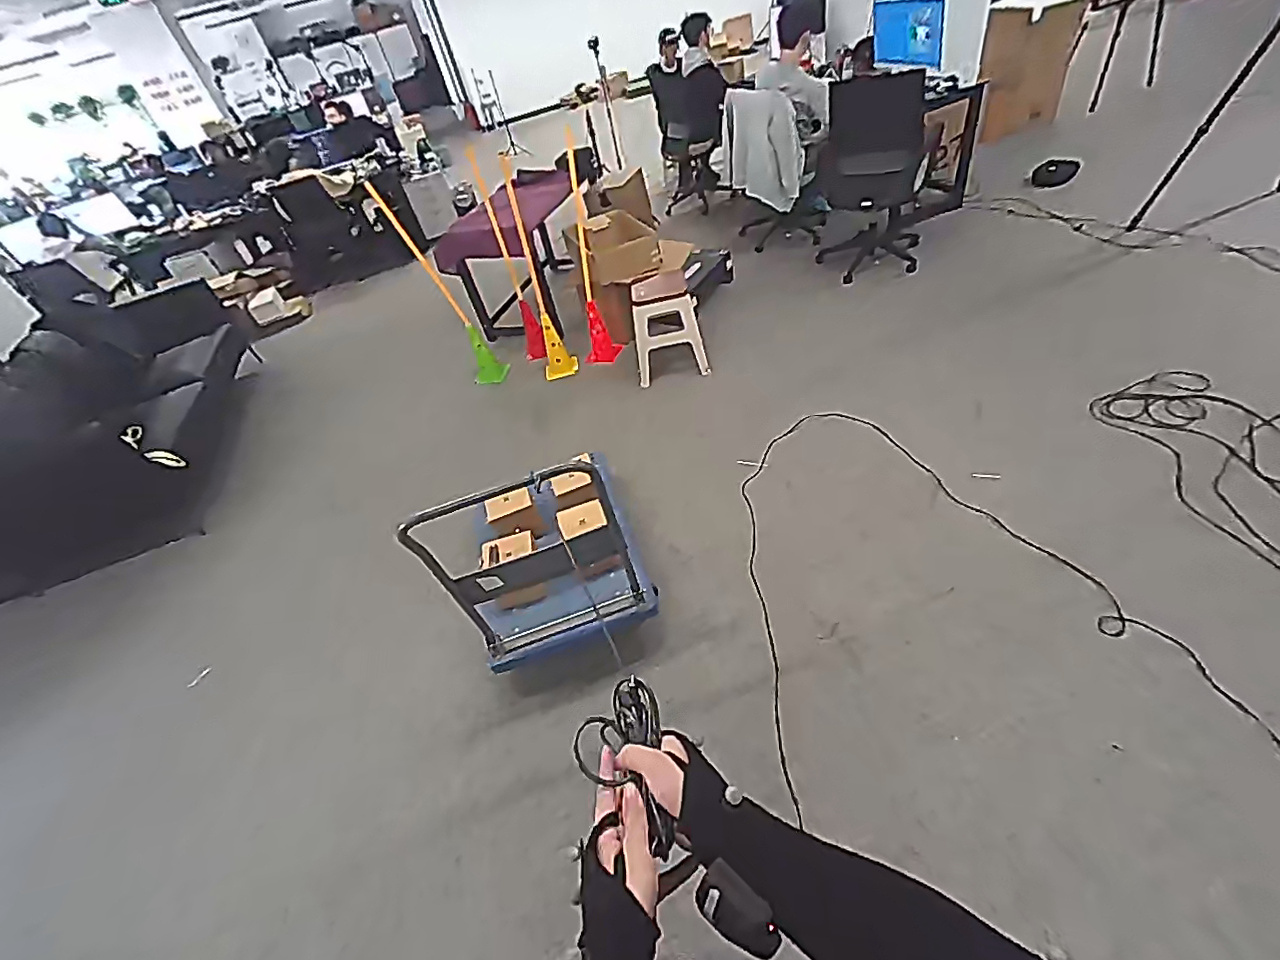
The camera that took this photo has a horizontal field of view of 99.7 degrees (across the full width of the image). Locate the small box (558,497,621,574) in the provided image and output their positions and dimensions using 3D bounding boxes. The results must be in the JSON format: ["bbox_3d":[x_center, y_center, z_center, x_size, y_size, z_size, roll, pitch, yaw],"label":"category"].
[{"bbox_3d":[-0.177,0.194,1.883,0.168,0.176,0.179,-18,44,-2],"label":"small box"}]

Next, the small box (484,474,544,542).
[{"bbox_3d":[-0.476,0.114,2.053,0.168,0.176,0.179,-21,43,-6],"label":"small box"}]

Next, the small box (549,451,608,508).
[{"bbox_3d":[-0.235,0.024,2.072,0.168,0.176,0.179,-21,44,-4],"label":"small box"}]
